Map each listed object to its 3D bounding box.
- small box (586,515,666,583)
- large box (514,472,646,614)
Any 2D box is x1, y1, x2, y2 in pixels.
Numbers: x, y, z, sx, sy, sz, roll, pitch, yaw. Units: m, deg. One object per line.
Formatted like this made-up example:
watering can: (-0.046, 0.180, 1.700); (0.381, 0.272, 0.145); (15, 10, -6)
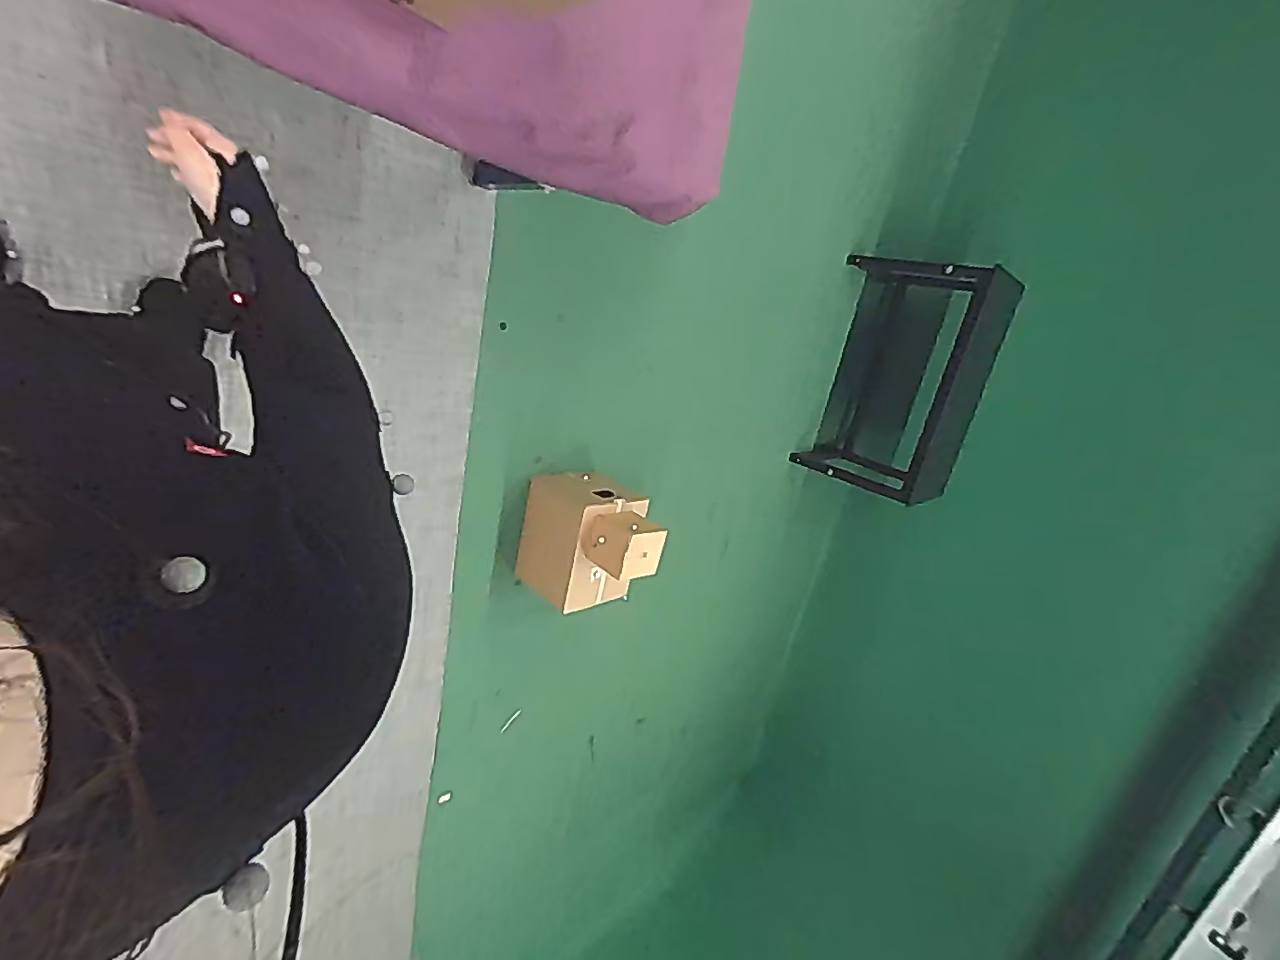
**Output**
small box: (-0.048, 0.222, 1.802); (0.179, 0.176, 0.168); (-1, 112, -47)
large box: (-0.227, 0.212, 1.986); (0.320, 0.320, 0.408); (-4, 114, -46)
